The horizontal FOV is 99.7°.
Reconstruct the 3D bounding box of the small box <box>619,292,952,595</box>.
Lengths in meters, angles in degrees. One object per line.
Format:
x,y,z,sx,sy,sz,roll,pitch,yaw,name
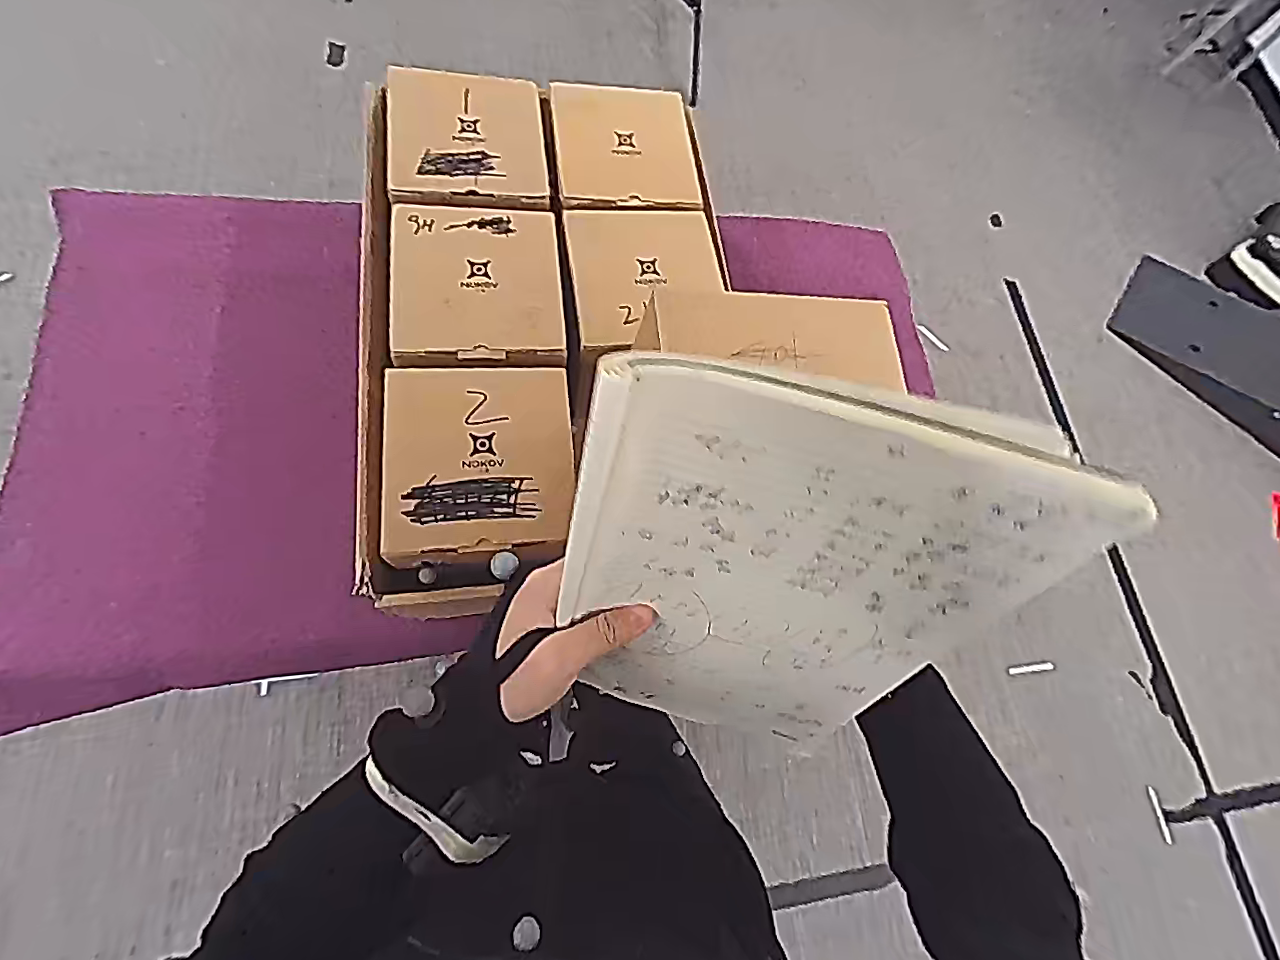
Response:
0.081,-0.011,0.396,0.168,0.176,0.179,-2,73,-12,small box
